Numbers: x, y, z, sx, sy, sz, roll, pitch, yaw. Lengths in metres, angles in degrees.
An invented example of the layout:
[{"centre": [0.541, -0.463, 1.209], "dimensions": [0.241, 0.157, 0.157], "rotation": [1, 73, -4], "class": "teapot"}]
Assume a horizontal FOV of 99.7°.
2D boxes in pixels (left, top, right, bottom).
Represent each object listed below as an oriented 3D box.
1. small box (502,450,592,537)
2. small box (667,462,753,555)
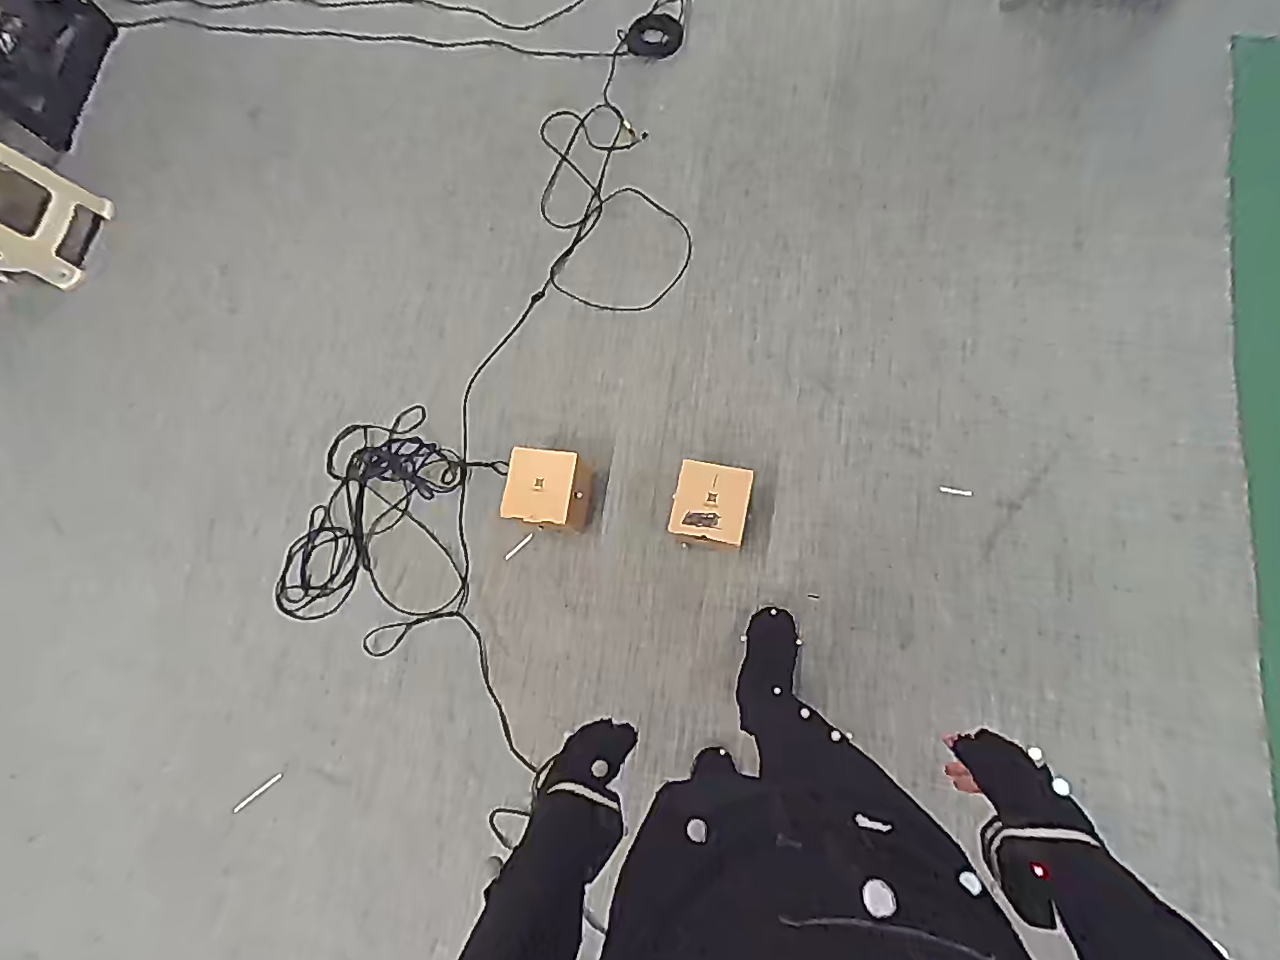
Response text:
[{"centre": [-0.225, 0.038, 1.362], "dimensions": [0.168, 0.176, 0.179], "rotation": [6, 78, 10], "class": "small box"}, {"centre": [0.171, 0.075, 1.293], "dimensions": [0.168, 0.176, 0.179], "rotation": [11, 78, 11], "class": "small box"}]
